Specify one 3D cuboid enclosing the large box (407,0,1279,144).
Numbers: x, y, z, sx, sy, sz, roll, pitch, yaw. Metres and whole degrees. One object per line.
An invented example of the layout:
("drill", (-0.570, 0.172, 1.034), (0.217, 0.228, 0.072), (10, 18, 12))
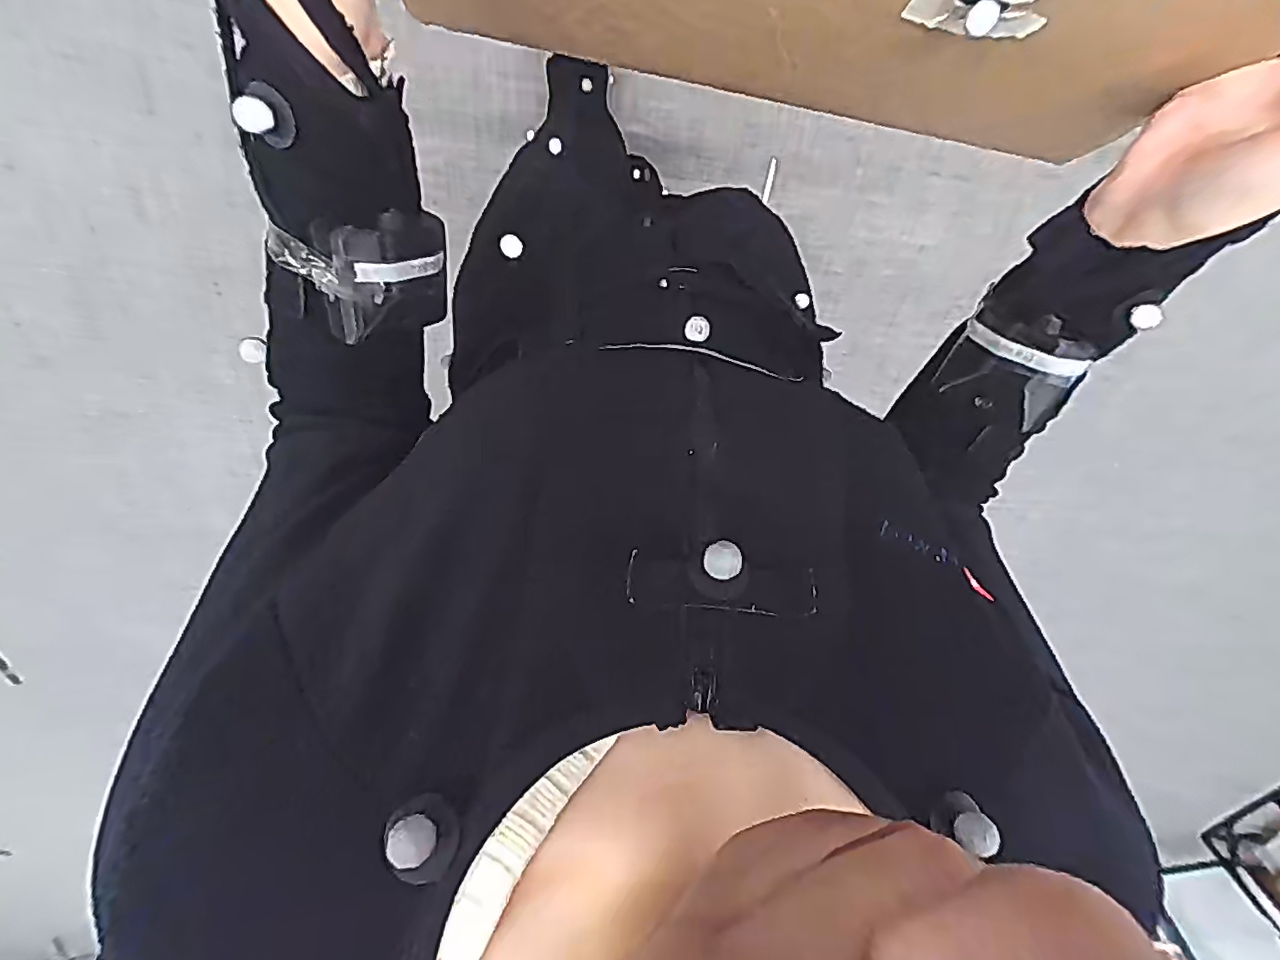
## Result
("large box", (0.098, -0.365, 0.159), (0.408, 0.320, 0.320), (7, 98, -6))
